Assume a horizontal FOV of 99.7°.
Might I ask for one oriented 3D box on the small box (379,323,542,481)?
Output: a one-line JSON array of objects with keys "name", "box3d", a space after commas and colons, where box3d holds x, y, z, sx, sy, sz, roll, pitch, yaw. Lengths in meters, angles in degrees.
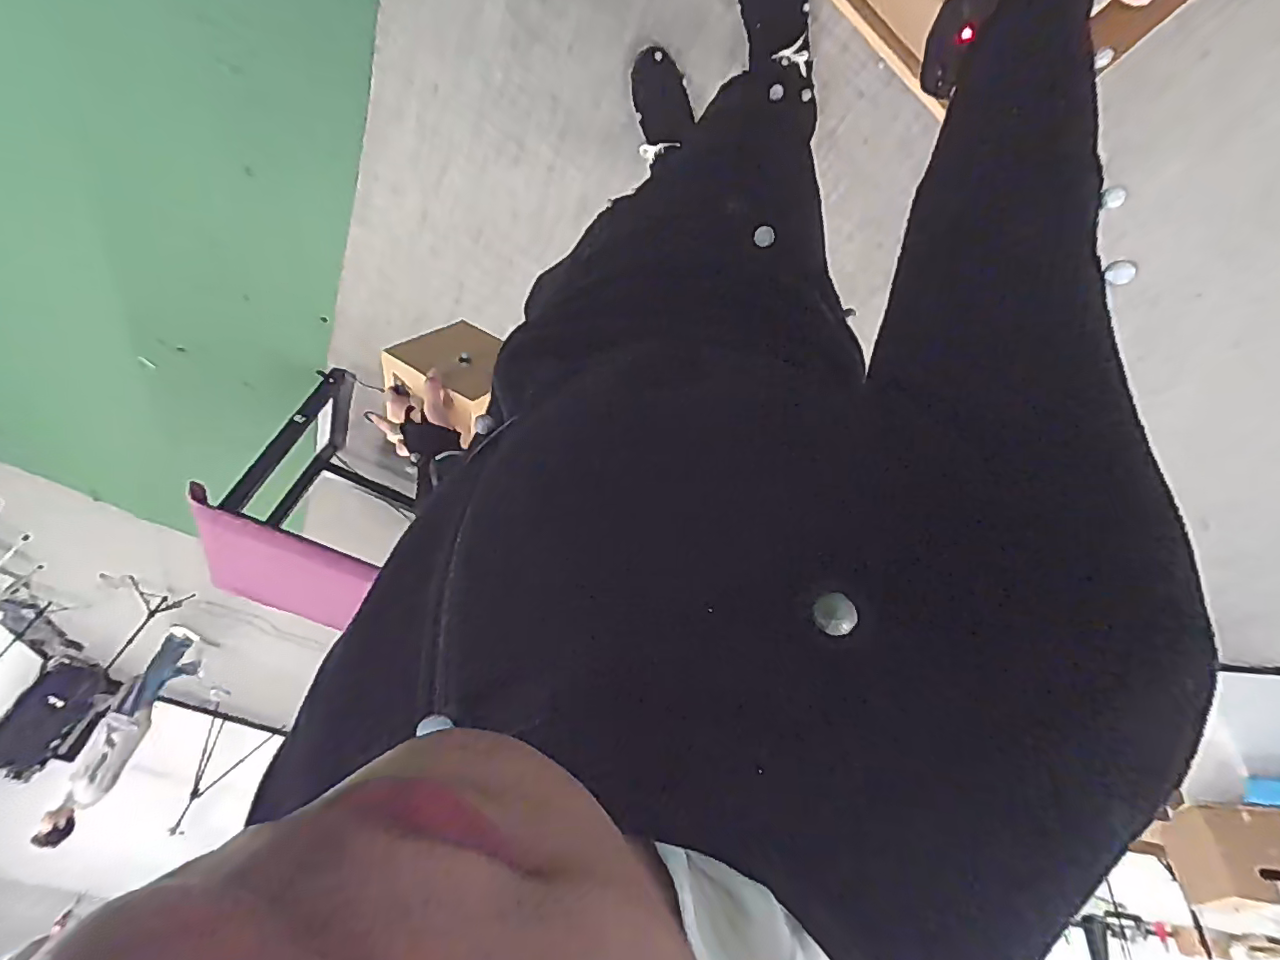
[{"name": "small box", "box3d": [-0.284, -0.134, 0.868, 0.179, 0.176, 0.168, 28, 131, 13]}]
